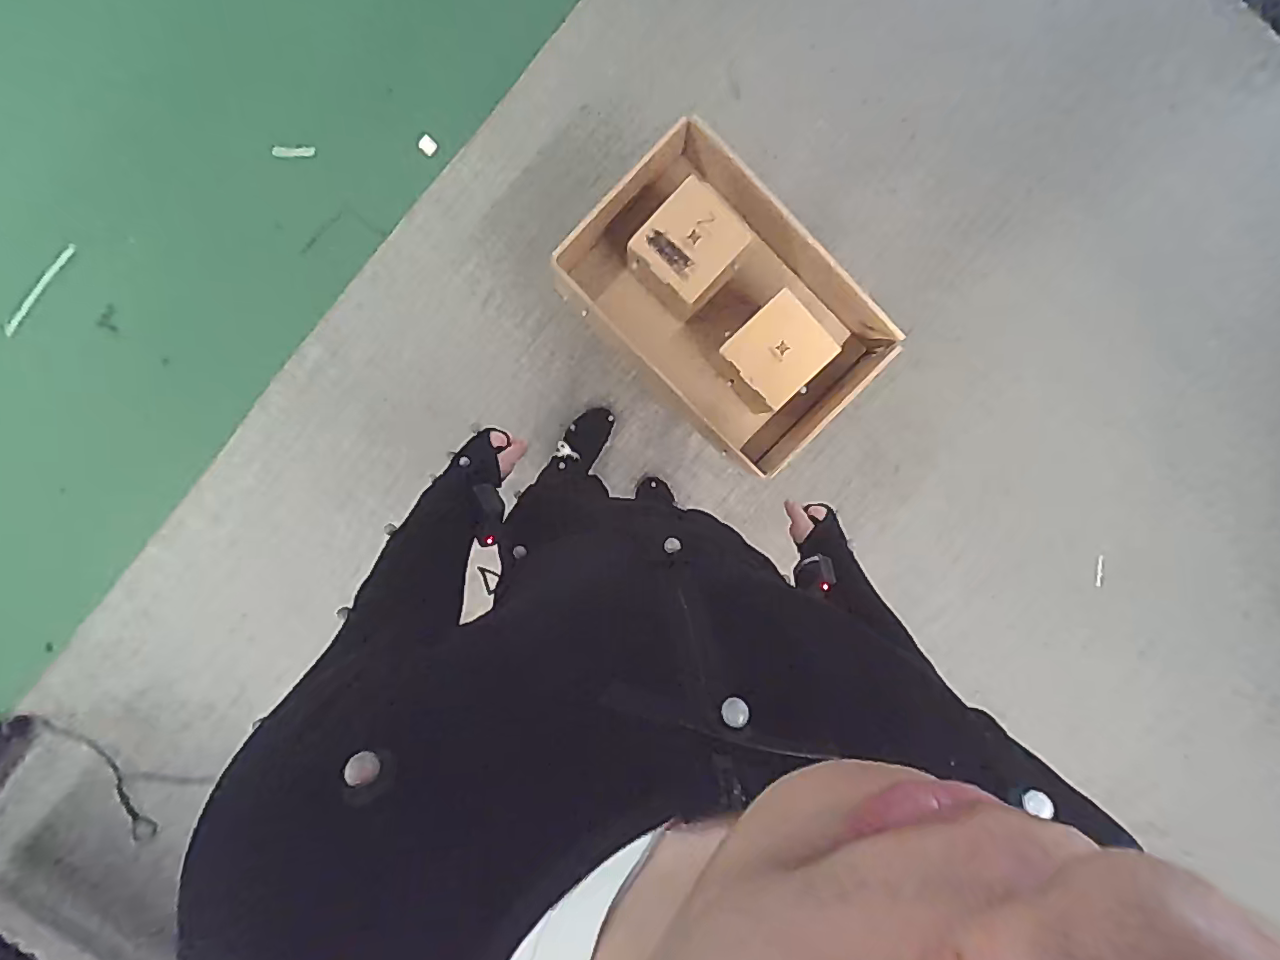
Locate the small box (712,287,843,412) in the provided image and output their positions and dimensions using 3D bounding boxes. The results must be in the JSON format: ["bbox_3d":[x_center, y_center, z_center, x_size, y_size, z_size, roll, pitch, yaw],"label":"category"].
[{"bbox_3d":[0.267,-0.255,1.097,0.179,0.176,0.168,-44,95,4],"label":"small box"}]
